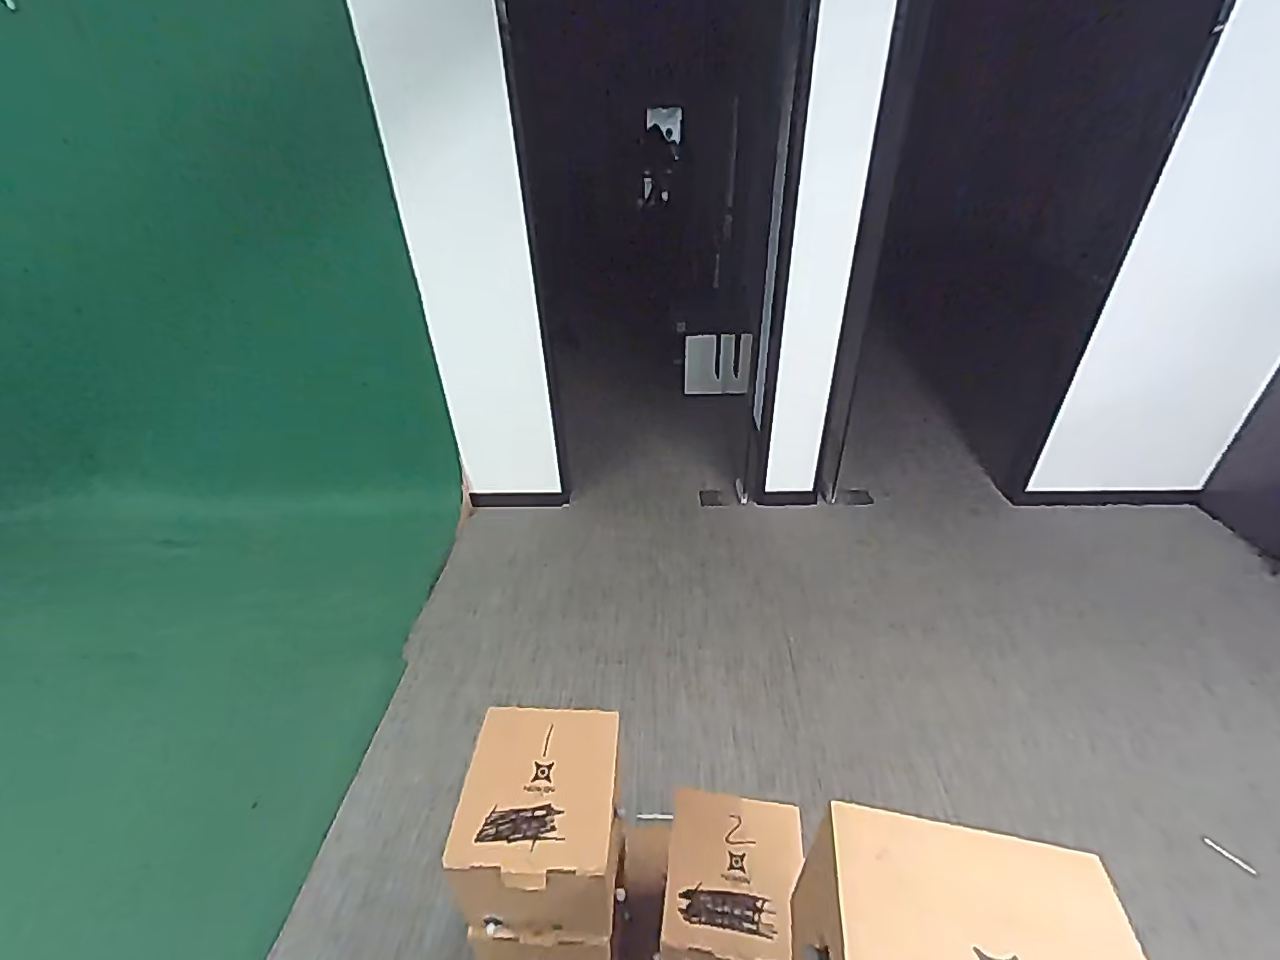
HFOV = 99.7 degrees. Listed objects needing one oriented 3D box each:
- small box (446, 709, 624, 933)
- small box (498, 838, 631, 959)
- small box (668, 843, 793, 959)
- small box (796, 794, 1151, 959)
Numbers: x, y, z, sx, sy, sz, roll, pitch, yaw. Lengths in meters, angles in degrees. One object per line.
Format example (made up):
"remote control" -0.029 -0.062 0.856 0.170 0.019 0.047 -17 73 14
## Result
"small box" -0.106 0.399 0.638 0.168 0.176 0.179 1 32 2
"small box" -0.103 0.671 0.822 0.168 0.176 0.179 2 33 3
"small box" 0.130 0.678 0.793 0.168 0.176 0.179 2 34 9
"small box" 0.192 0.336 0.329 0.168 0.176 0.179 6 34 10
